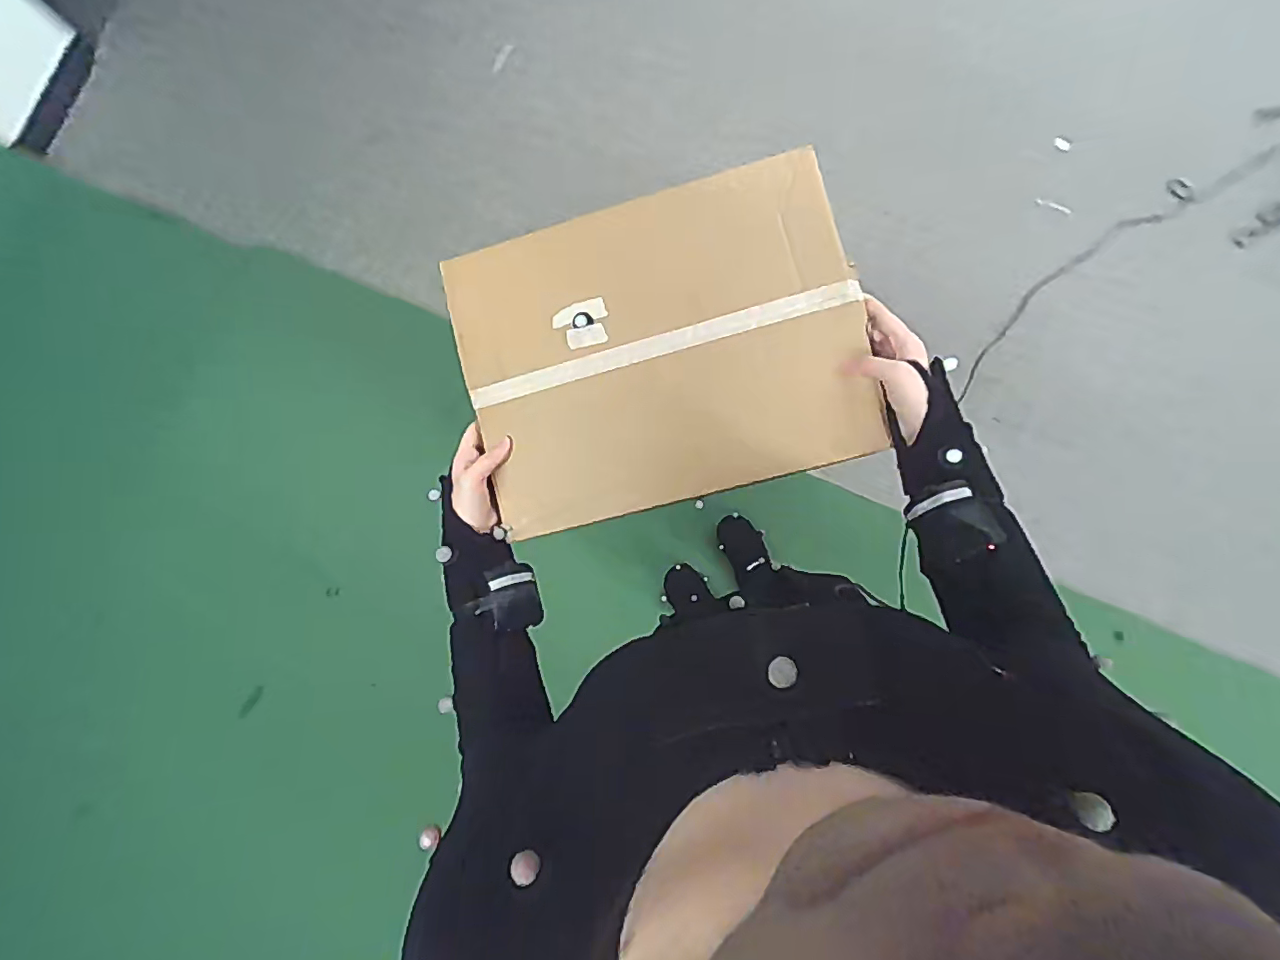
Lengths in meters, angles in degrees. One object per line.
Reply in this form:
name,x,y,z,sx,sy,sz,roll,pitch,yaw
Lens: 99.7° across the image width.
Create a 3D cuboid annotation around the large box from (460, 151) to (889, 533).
large box,0.046,-0.139,0.713,0.408,0.320,0.320,-14,88,8
